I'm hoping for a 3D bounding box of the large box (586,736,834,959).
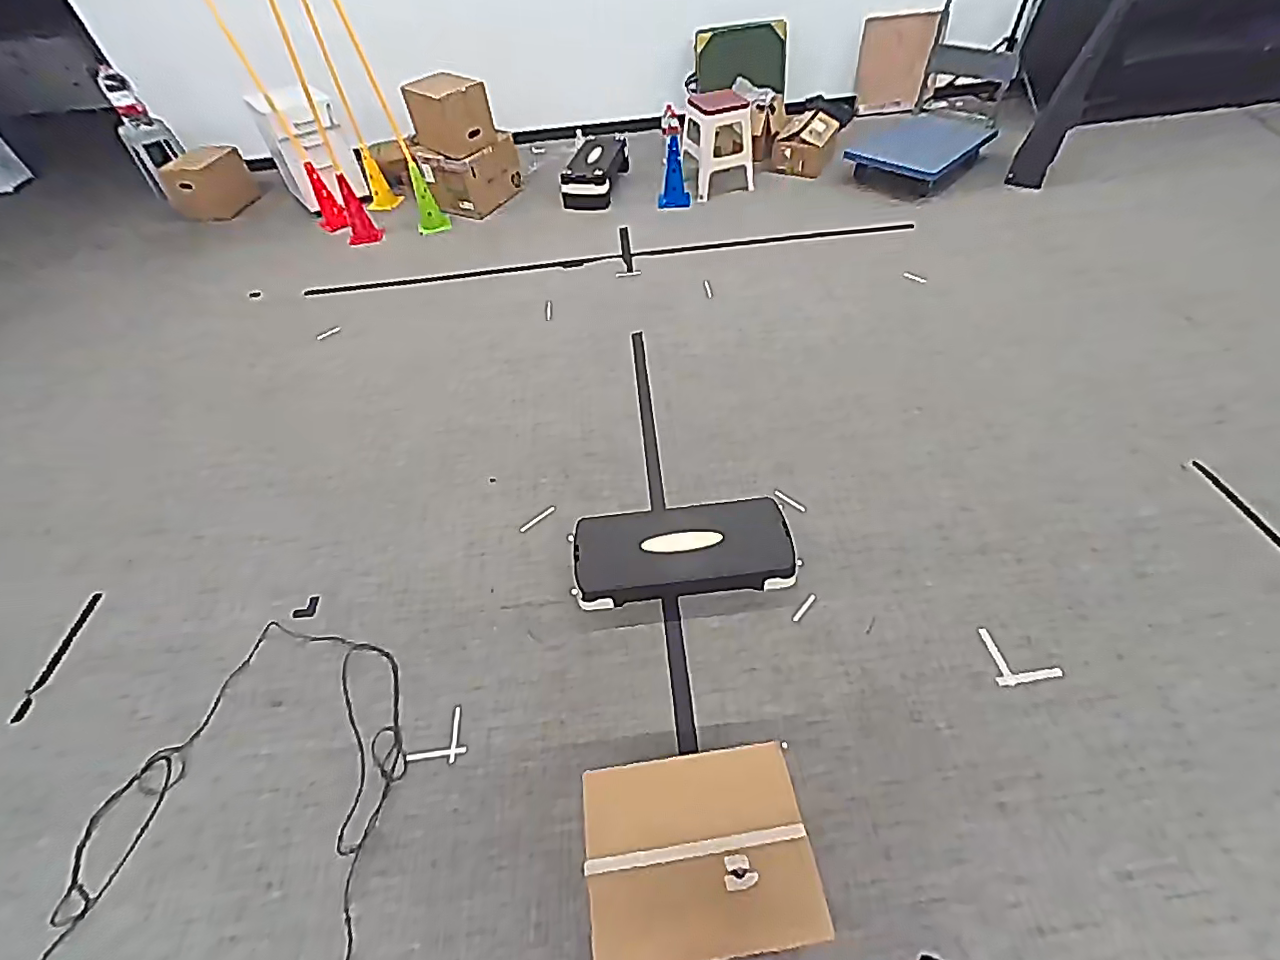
[{"bbox_3d":[0.117,0.763,1.102,0.408,0.320,0.320,-8,50,-3],"label":"large box"}]
